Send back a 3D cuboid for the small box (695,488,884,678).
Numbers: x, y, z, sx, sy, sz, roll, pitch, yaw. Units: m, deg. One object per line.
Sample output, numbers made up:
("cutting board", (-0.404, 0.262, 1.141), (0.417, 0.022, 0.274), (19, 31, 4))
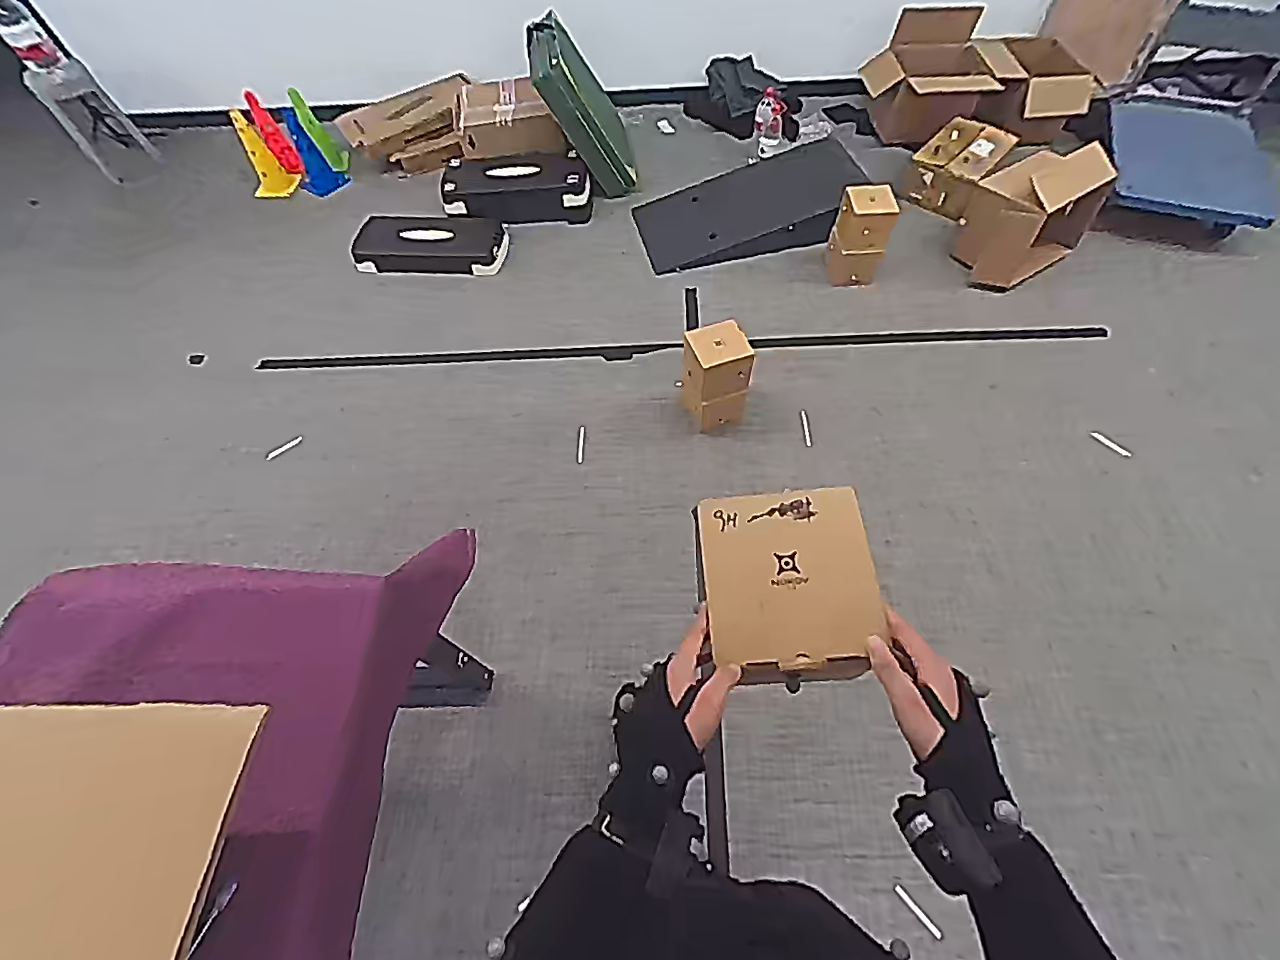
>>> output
("small box", (0.155, 0.127, 0.613), (0.168, 0.176, 0.179), (-6, 64, 6))
